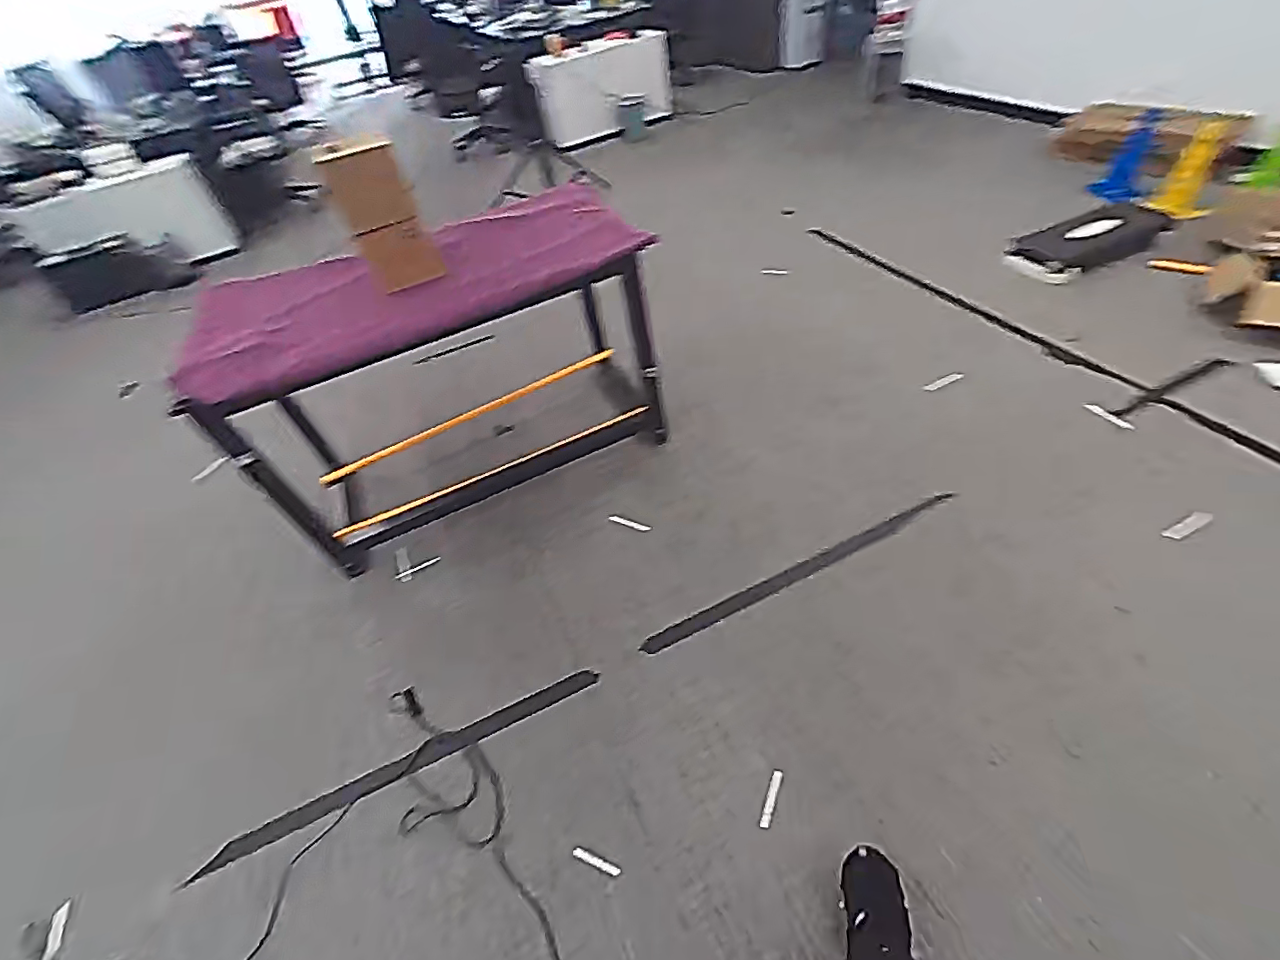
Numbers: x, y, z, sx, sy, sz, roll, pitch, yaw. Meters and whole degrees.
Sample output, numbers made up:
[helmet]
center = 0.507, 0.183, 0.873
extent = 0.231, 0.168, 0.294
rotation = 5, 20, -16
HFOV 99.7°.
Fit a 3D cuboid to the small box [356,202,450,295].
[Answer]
[small box]
center = -0.652, -0.636, 1.492
extent = 0.179, 0.176, 0.168
rotation = -24, 47, -11
